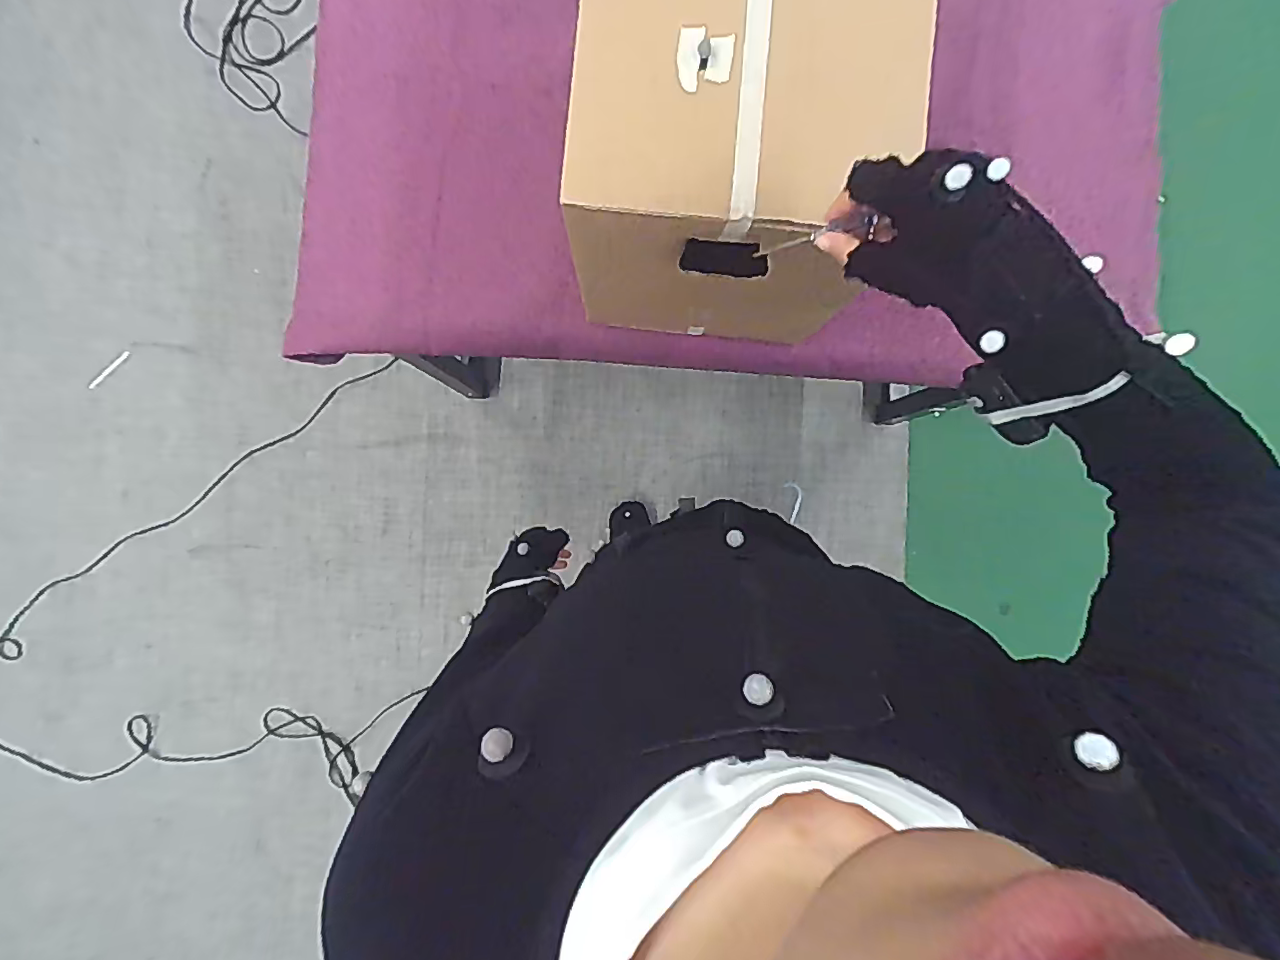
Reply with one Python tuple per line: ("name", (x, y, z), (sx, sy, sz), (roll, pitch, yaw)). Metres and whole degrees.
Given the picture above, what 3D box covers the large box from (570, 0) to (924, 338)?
("large box", (0.100, -0.420, 0.637), (0.320, 0.320, 0.408), (6, 88, -1))
